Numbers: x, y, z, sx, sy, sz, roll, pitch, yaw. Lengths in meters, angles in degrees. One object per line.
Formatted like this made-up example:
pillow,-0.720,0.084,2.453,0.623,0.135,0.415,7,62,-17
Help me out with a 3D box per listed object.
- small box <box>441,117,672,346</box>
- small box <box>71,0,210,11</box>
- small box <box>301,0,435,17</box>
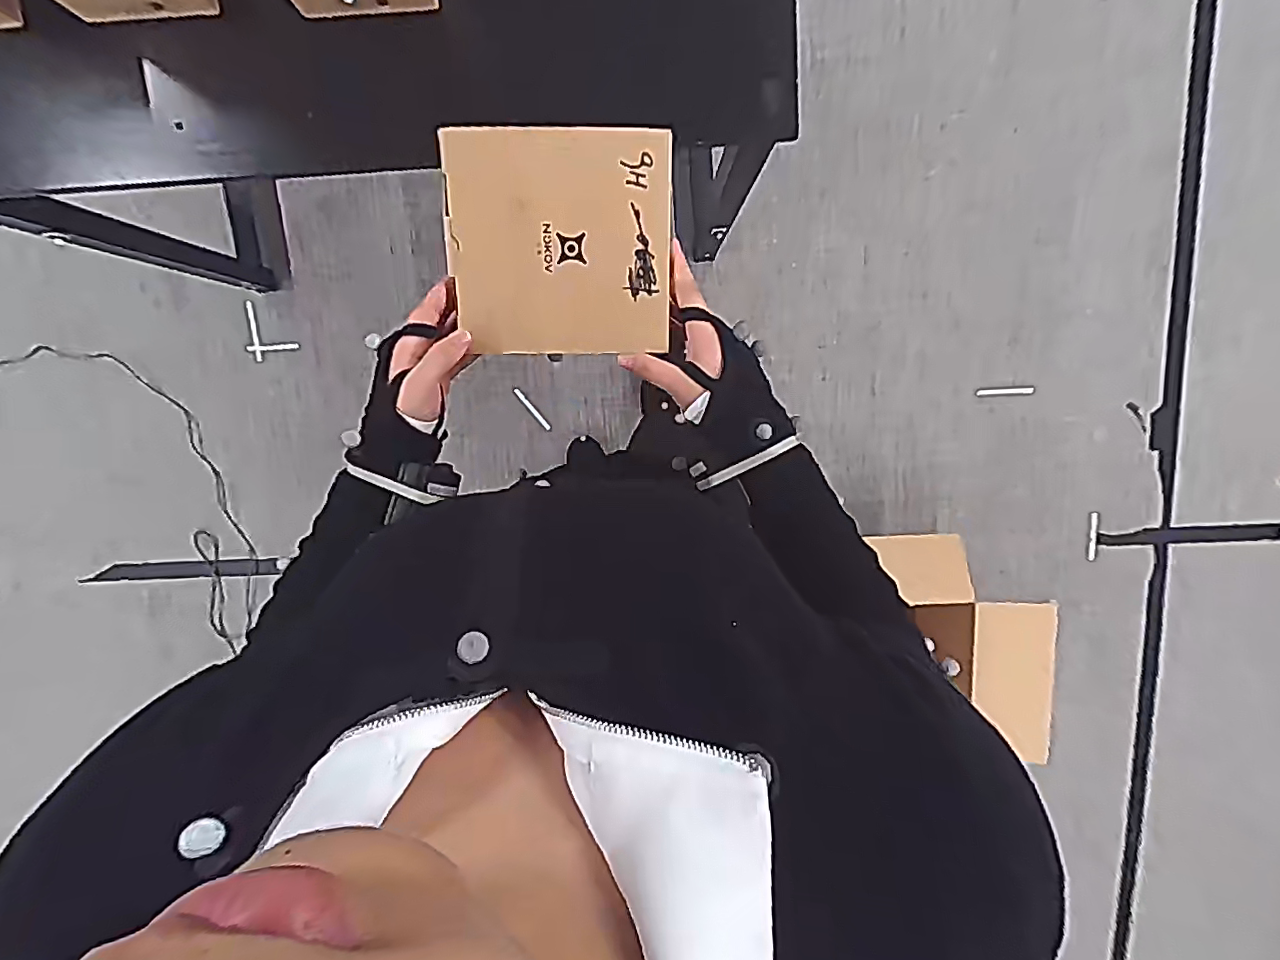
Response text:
small box,-0.065,-0.213,0.502,0.179,0.176,0.168,0,107,-2
small box,-0.594,-0.630,0.560,0.168,0.176,0.179,-3,99,0
small box,-0.329,-0.636,0.561,0.168,0.176,0.179,-3,100,0
